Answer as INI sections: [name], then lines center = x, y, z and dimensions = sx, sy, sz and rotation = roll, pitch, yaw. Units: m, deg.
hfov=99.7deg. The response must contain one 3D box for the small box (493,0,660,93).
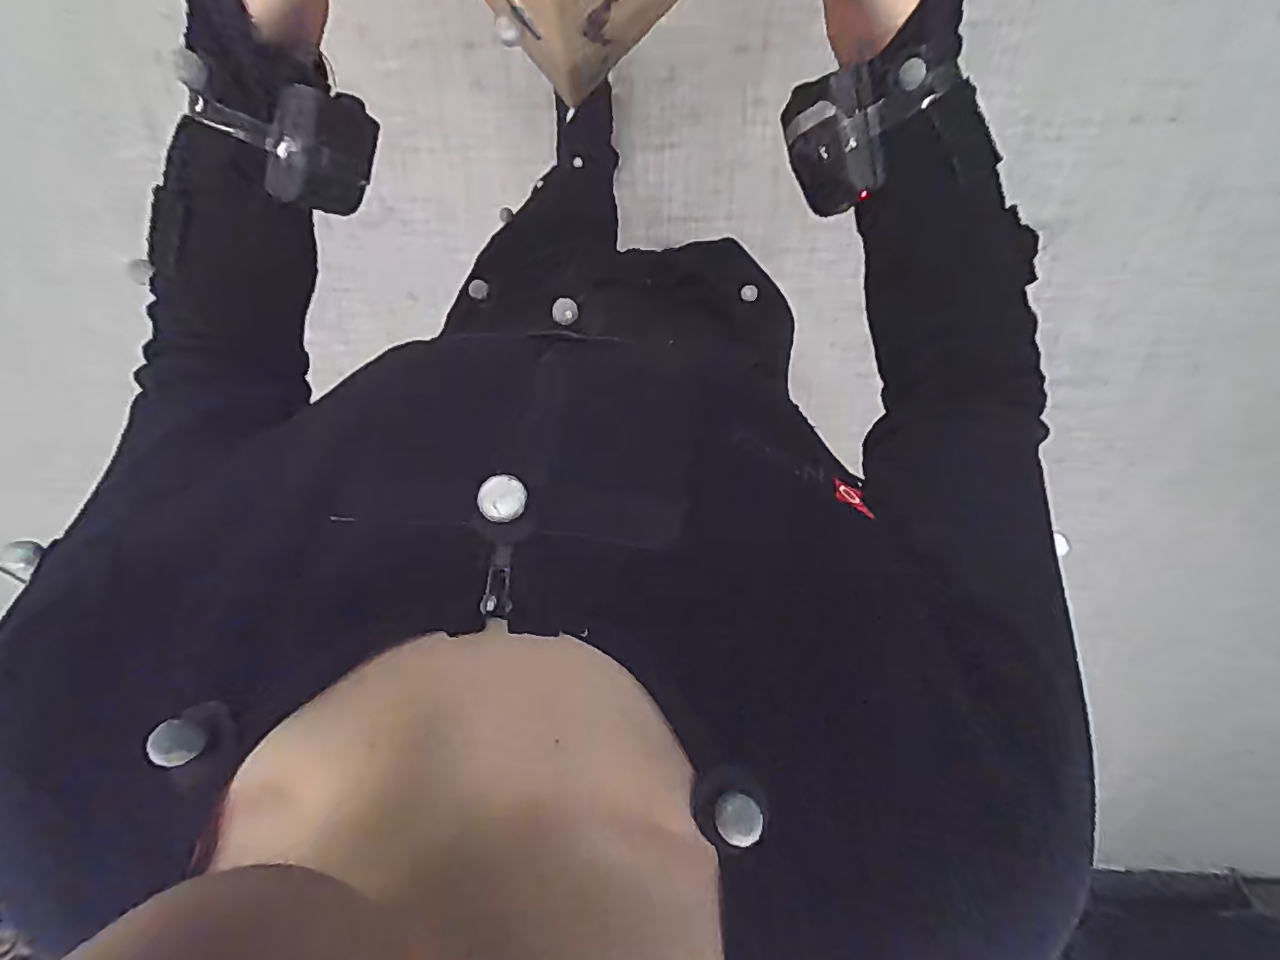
[small box]
center = -0.027, -0.306, 0.202
dimensions = 0.179, 0.168, 0.176
rotation = -41, 111, 13
